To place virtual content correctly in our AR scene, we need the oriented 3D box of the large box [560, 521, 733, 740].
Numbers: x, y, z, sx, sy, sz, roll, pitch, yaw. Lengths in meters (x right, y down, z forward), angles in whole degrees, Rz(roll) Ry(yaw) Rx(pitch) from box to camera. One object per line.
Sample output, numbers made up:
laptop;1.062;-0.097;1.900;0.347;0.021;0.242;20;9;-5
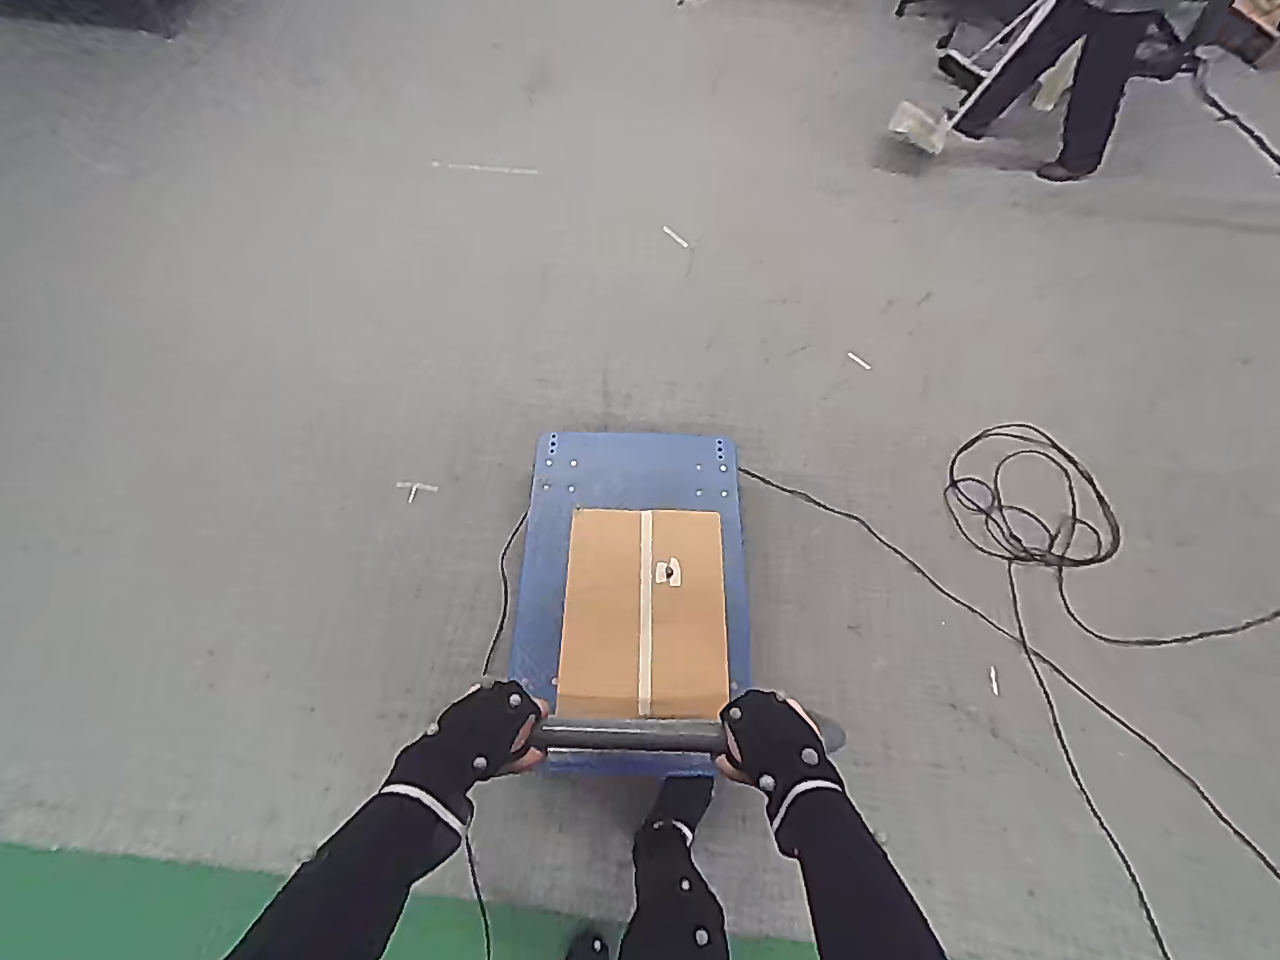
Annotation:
large box;0.008;0.337;1.180;0.320;0.320;0.408;2;61;-2
